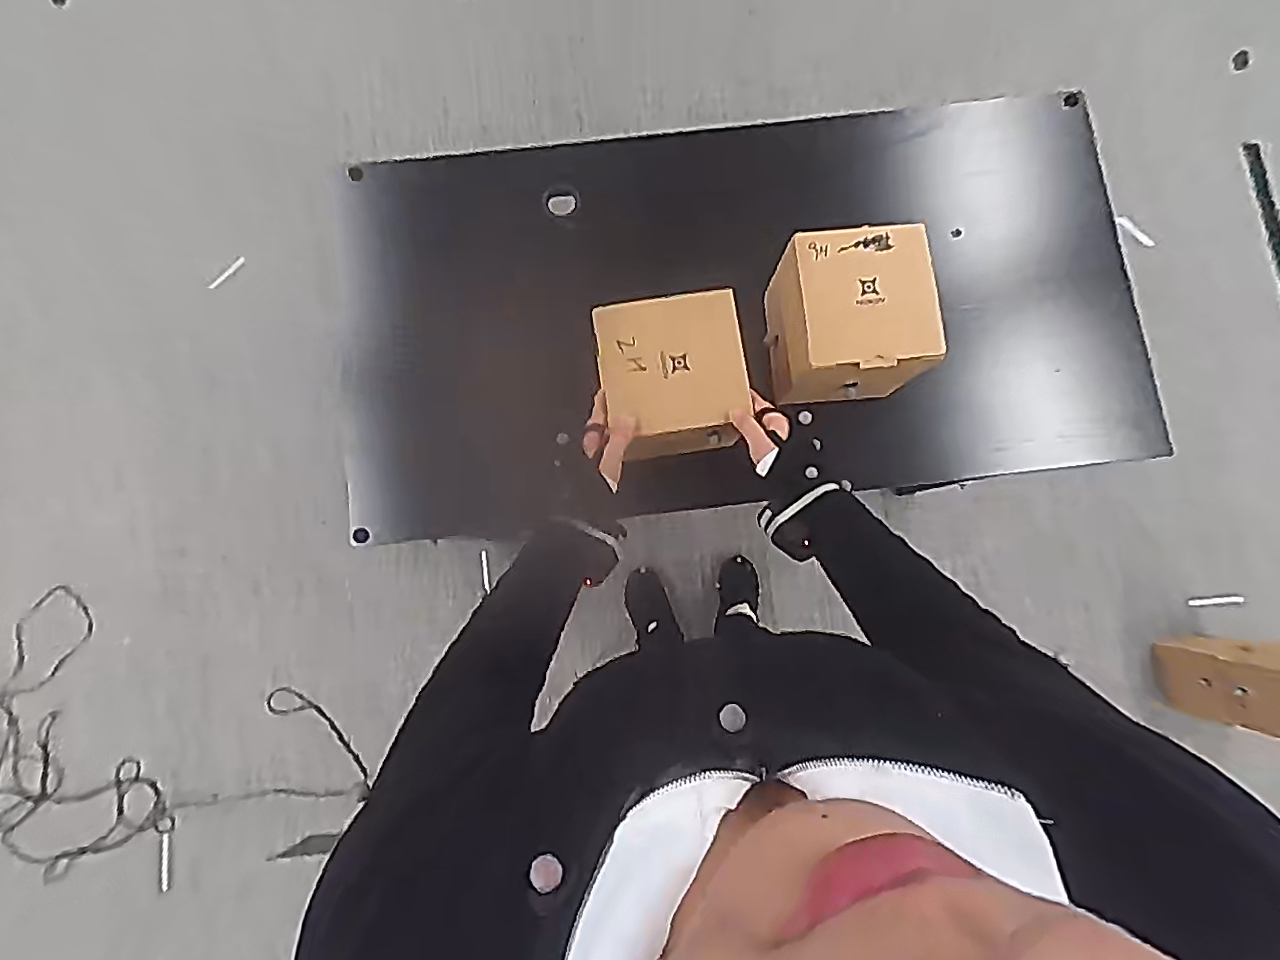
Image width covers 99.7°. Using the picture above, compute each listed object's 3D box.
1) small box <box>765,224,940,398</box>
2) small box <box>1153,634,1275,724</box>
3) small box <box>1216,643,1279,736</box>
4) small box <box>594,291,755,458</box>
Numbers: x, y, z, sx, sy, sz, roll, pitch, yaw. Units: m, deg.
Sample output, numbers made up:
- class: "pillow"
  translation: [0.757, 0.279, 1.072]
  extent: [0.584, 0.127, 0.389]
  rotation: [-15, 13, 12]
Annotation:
- class: "small box"
  translation: [0.276, -0.216, 0.739]
  extent: [0.168, 0.176, 0.179]
  rotation: [-5, 83, 0]
- class: "small box"
  translation: [1.475, 0.497, 1.378]
  extent: [0.168, 0.176, 0.179]
  rotation: [-9, 83, -1]
- class: "small box"
  translation: [1.485, 0.474, 1.217]
  extent: [0.179, 0.176, 0.168]
  rotation: [-13, 82, 0]
- class: "small box"
  translation: [0.040, -0.130, 0.724]
  extent: [0.179, 0.176, 0.168]
  rotation: [-8, 83, 0]
